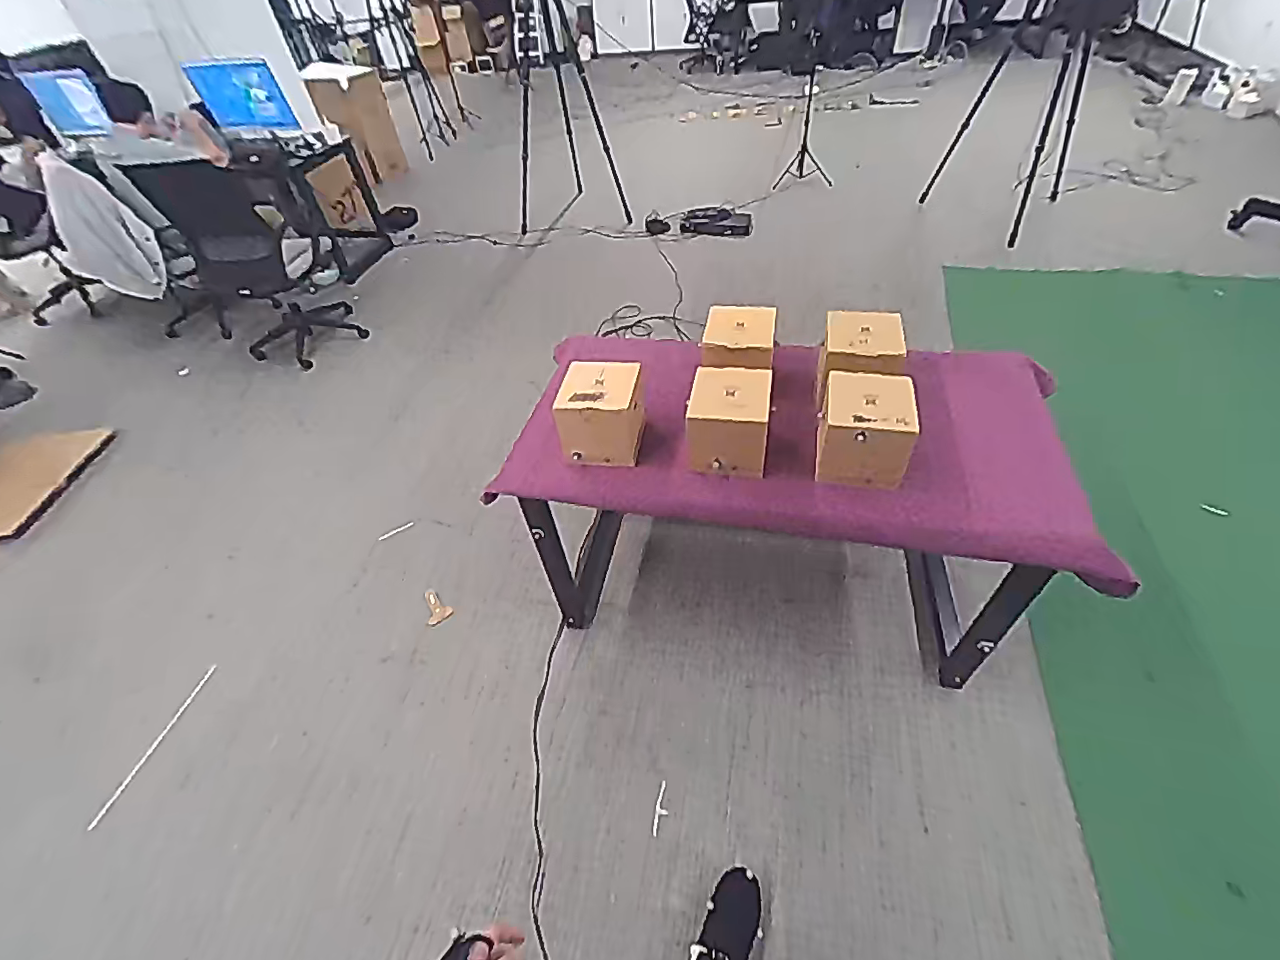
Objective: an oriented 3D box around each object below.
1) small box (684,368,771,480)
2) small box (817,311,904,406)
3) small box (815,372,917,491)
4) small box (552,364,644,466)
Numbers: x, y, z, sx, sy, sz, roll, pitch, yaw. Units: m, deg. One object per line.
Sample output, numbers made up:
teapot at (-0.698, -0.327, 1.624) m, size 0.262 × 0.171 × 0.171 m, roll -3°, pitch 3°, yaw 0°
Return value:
small box at (0.194, -0.125, 1.190) m, size 0.168 × 0.176 × 0.179 m, roll 5°, pitch 48°, yaw 14°
small box at (0.518, -0.283, 1.290) m, size 0.168 × 0.176 × 0.179 m, roll 6°, pitch 49°, yaw 14°
small box at (0.463, -0.102, 1.129) m, size 0.168 × 0.176 × 0.179 m, roll 6°, pitch 48°, yaw 14°
small box at (-0.087, -0.148, 1.245) m, size 0.168 × 0.176 × 0.179 m, roll 4°, pitch 46°, yaw 10°
